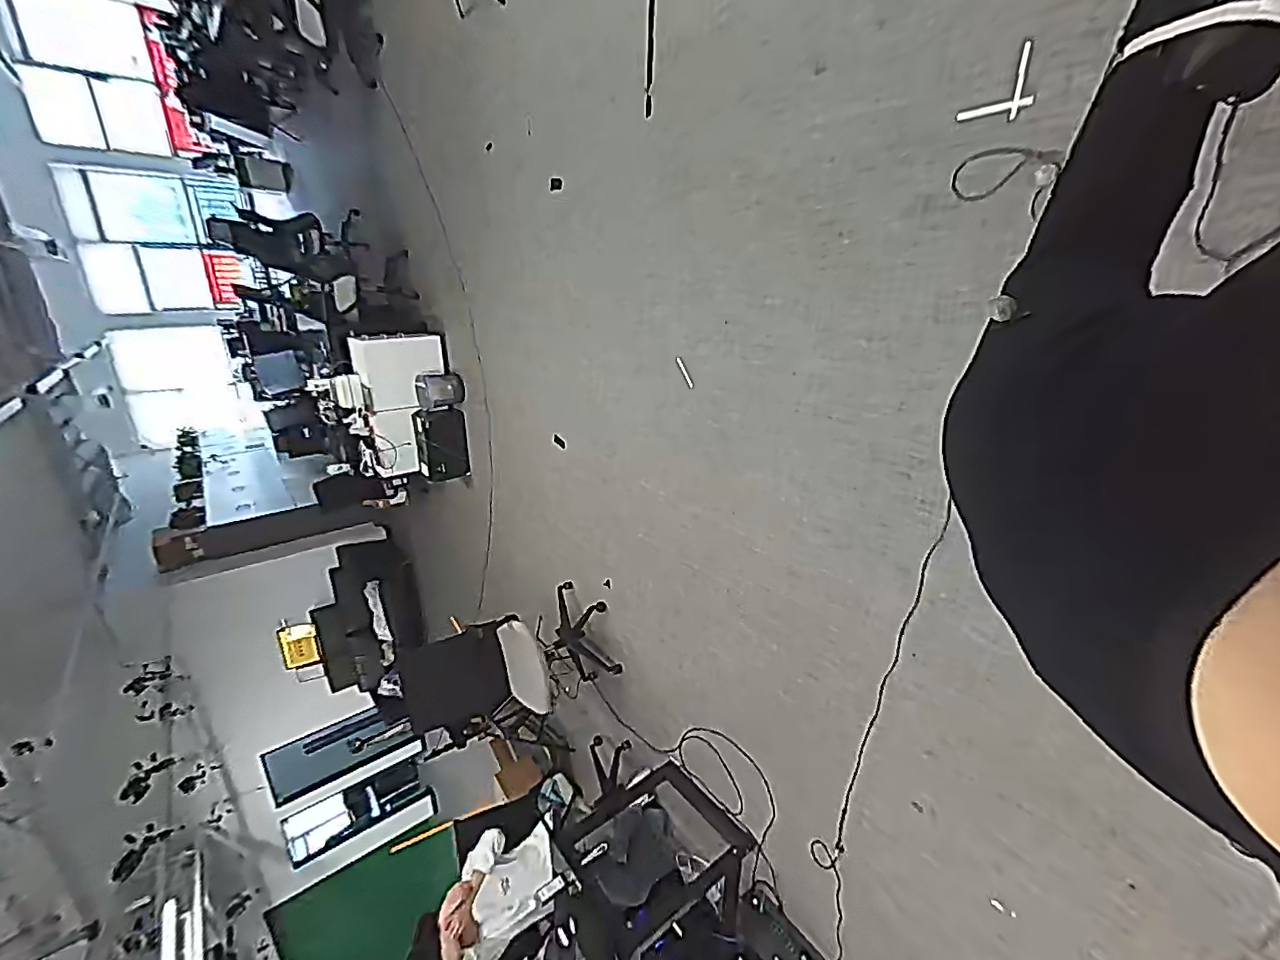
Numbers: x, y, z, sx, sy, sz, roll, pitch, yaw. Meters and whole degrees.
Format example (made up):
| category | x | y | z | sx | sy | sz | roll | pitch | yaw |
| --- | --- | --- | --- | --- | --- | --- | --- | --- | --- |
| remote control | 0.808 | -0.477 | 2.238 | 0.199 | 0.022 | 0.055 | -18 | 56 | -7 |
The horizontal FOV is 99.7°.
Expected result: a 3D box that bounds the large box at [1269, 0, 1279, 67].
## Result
| category | x | y | z | sx | sy | sz | roll | pitch | yaw |
| --- | --- | --- | --- | --- | --- | --- | --- | --- | --- |
| large box | 0.638 | -0.433 | 0.243 | 0.408 | 0.320 | 0.320 | 24 | 122 | 45 |
